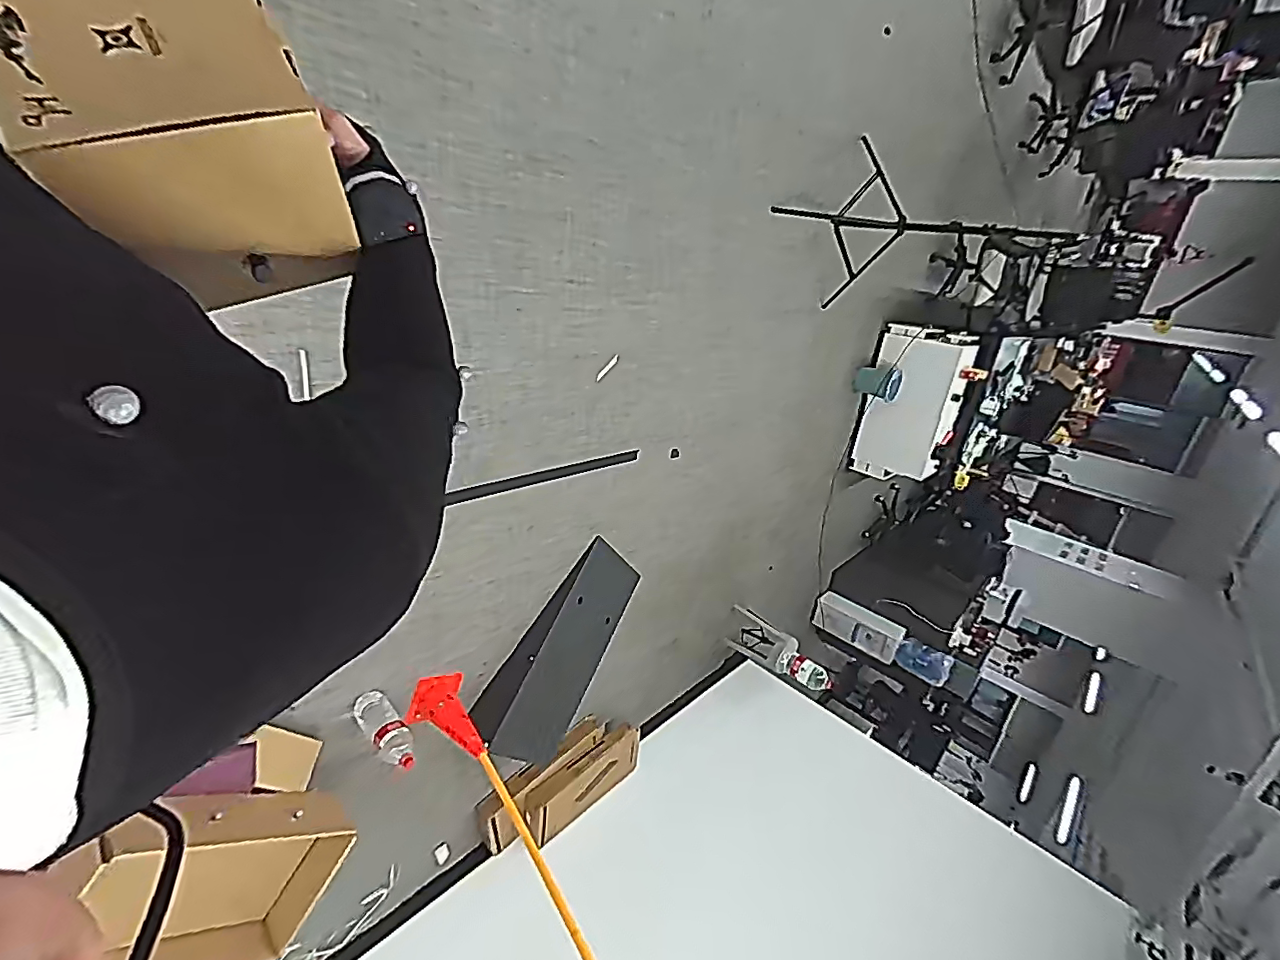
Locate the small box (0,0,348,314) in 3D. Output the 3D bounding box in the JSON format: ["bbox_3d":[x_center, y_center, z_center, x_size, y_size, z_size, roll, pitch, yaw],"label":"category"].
[{"bbox_3d":[-0.370,-0.272,0.454,0.179,0.168,0.176,-25,167,-22],"label":"small box"}]
